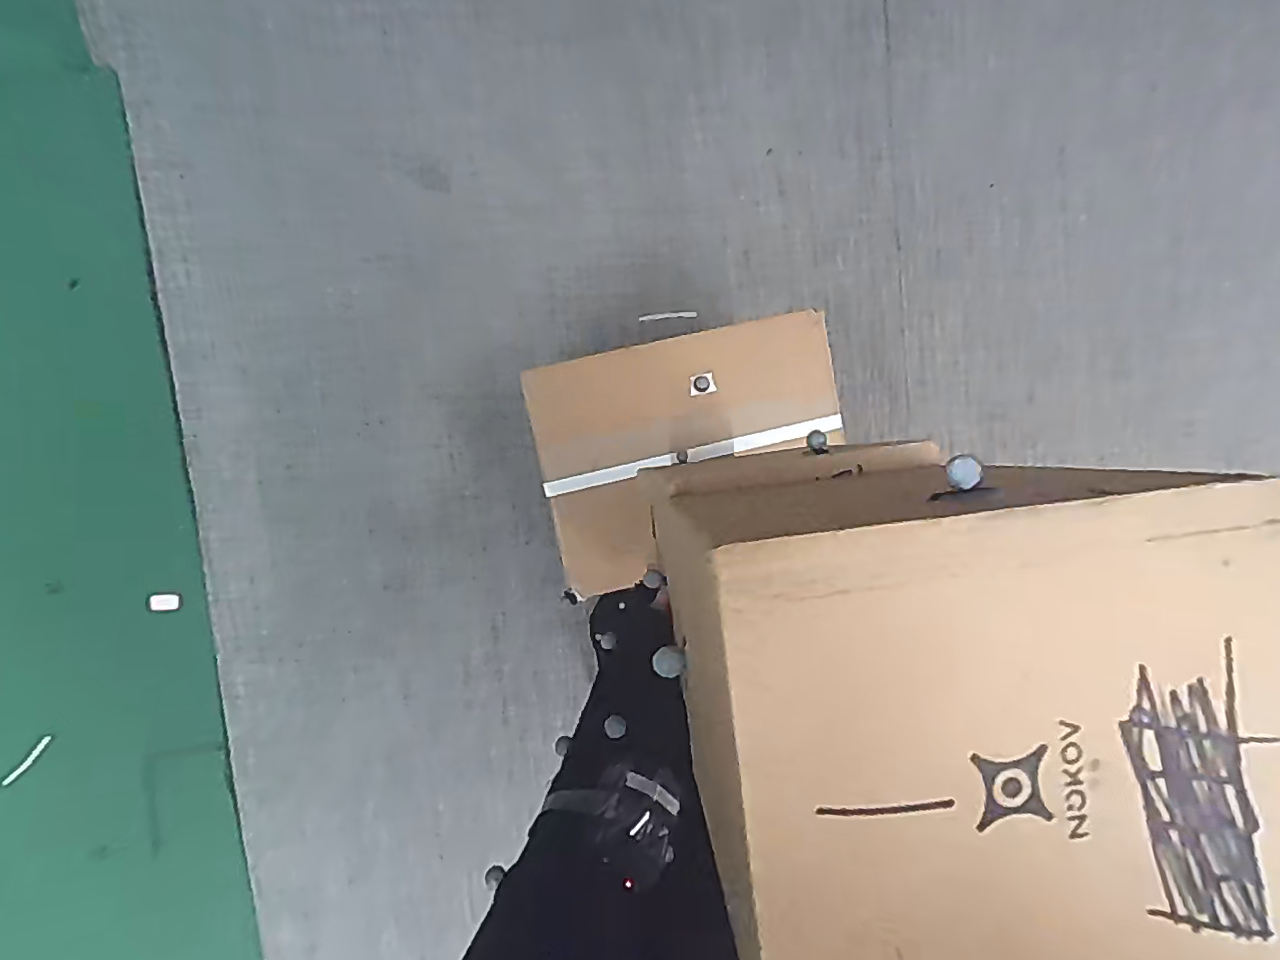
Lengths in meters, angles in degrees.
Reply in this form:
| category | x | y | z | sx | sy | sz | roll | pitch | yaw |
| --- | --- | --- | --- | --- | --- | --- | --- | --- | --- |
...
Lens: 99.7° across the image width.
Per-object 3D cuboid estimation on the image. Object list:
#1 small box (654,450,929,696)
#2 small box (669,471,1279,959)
| category | x | y | z | sx | sy | sz | roll | pitch | yaw |
| --- | --- | --- | --- | --- | --- | --- | --- | --- | --- |
| small box | 0.105 | 0.072 | 0.417 | 0.168 | 0.176 | 0.179 | -8 | 93 | -2 |
| small box | 0.114 | 0.086 | 0.252 | 0.179 | 0.176 | 0.168 | -7 | 92 | -1 |
